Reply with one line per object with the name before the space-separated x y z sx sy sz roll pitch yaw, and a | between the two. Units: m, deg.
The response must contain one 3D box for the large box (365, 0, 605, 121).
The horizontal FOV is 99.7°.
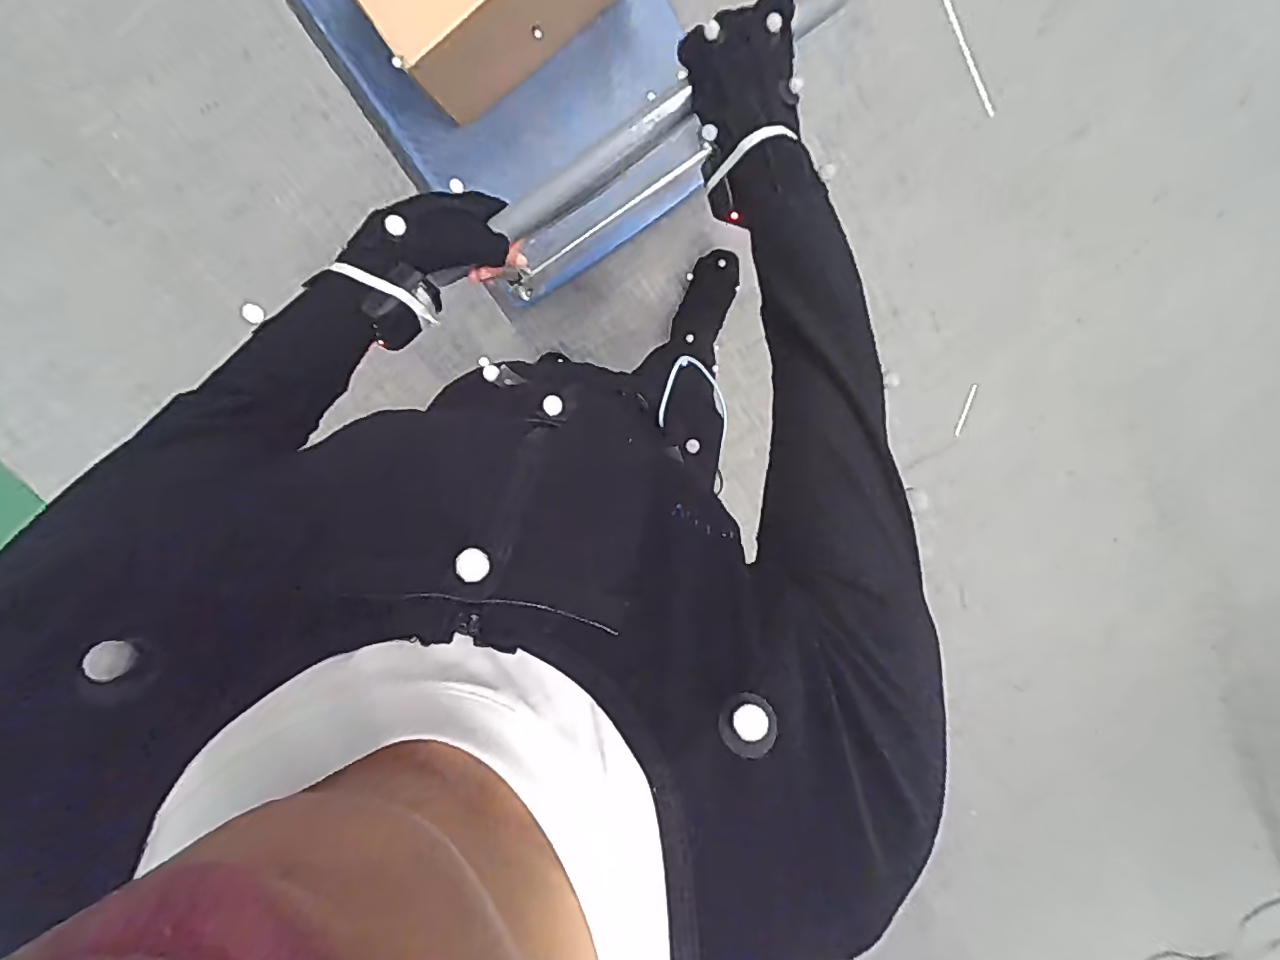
large box | -0.260 -0.873 0.845 0.408 0.320 0.320 -34 107 10
